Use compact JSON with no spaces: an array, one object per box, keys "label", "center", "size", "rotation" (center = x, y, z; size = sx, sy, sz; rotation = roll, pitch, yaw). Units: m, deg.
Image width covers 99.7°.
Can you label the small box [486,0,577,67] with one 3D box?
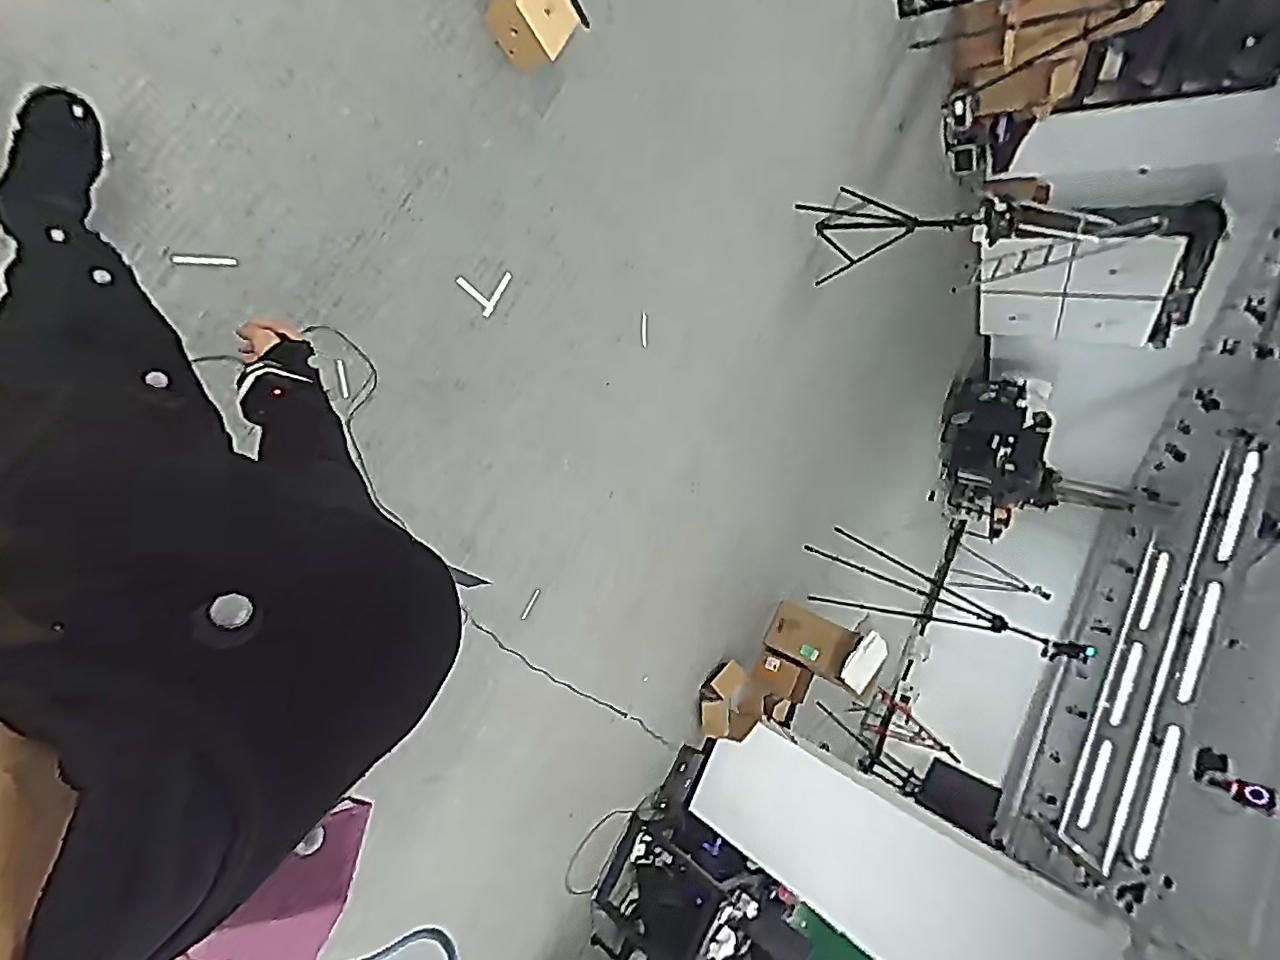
[{"label":"small box","center":[-0.326,-1.370,1.593],"size":[0.168,0.176,0.179],"rotation":[38,74,-51]}]
